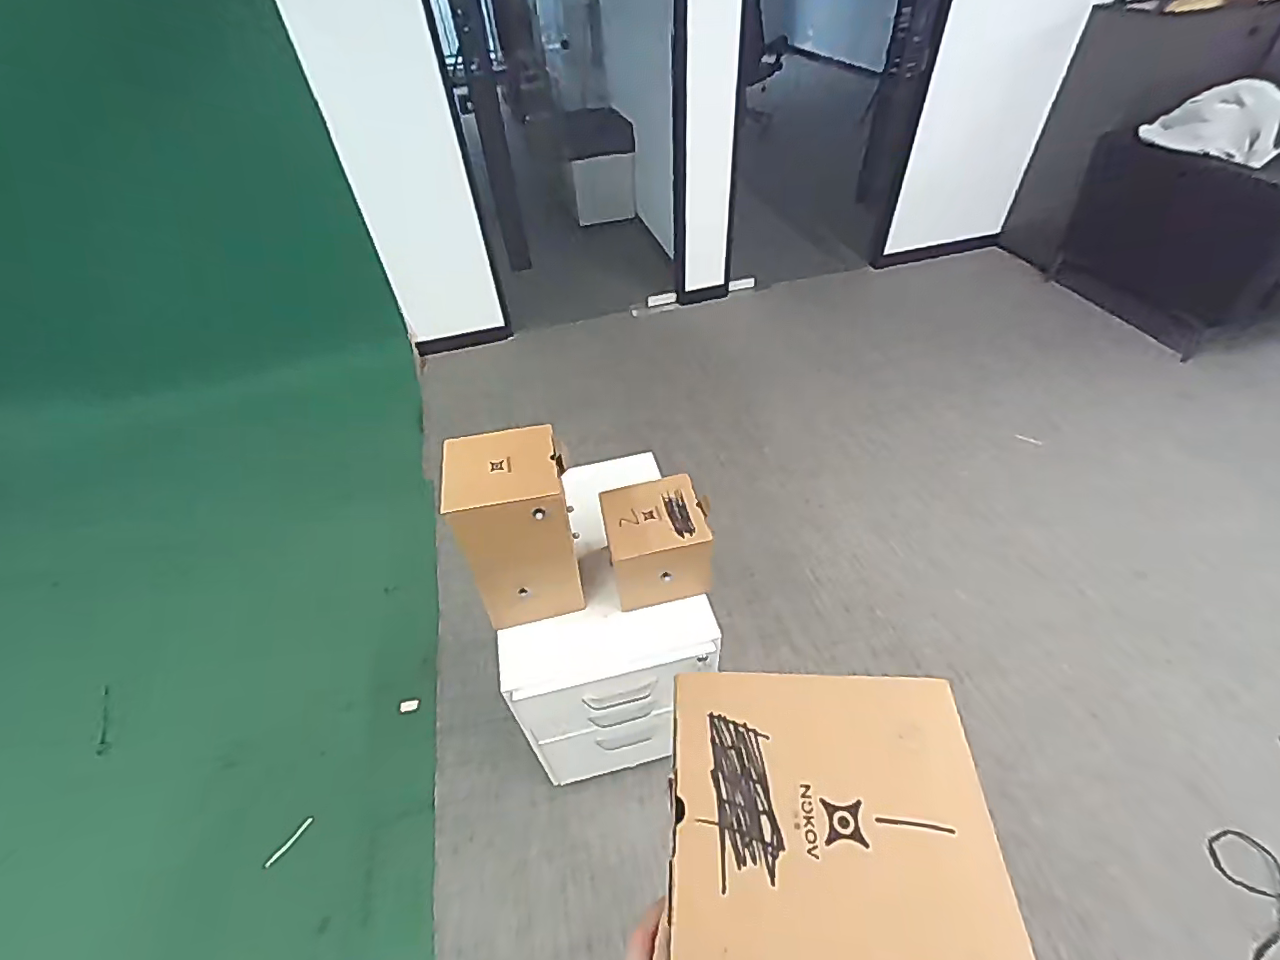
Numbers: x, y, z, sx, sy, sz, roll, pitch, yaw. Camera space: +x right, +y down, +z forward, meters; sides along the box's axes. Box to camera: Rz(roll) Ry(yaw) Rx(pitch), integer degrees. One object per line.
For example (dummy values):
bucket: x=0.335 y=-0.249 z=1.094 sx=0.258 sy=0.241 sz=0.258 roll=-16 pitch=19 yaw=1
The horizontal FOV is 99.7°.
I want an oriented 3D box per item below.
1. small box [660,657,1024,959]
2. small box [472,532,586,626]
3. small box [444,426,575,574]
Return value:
small box: x=0.110 y=0.238 z=0.369 sx=0.179 sy=0.176 sz=0.168 roll=0 pitch=47 yaw=6
small box: x=-0.207 y=0.149 z=1.009 sx=0.179 sy=0.176 sz=0.168 roll=-11 pitch=46 yaw=-9
small box: x=-0.210 y=0.036 z=0.892 sx=0.179 sy=0.176 sz=0.168 roll=-9 pitch=45 yaw=-9
